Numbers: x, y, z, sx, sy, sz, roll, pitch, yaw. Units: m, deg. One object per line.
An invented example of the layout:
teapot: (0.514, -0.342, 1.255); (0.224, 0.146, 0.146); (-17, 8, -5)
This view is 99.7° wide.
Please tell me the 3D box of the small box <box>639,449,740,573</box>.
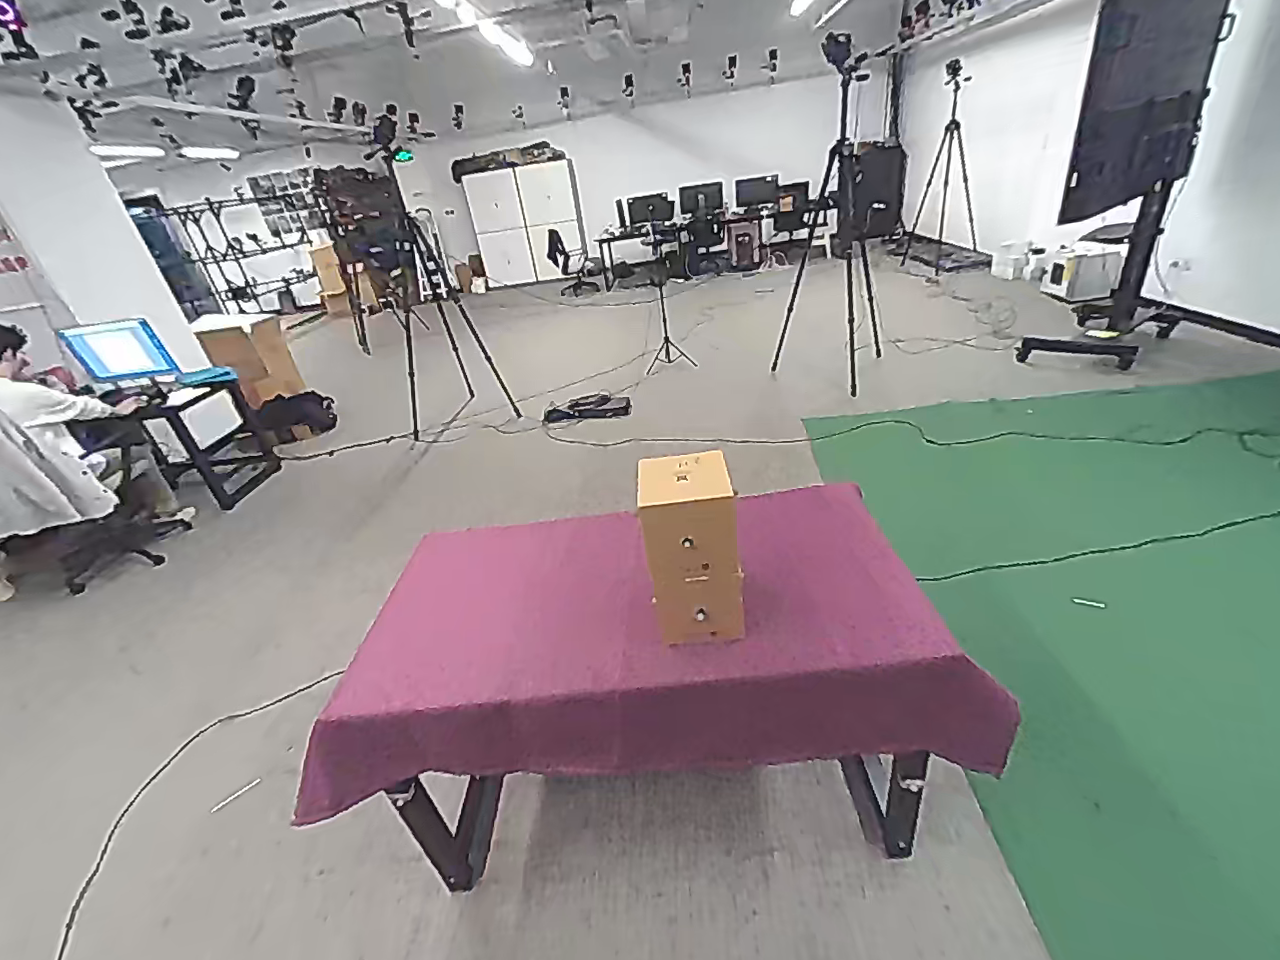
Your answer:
small box: (0.093, 0.063, 1.020); (0.168, 0.176, 0.179); (-6, 29, 5)

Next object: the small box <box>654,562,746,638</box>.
small box: (0.121, 0.205, 1.101); (0.168, 0.176, 0.179); (-6, 30, 5)
